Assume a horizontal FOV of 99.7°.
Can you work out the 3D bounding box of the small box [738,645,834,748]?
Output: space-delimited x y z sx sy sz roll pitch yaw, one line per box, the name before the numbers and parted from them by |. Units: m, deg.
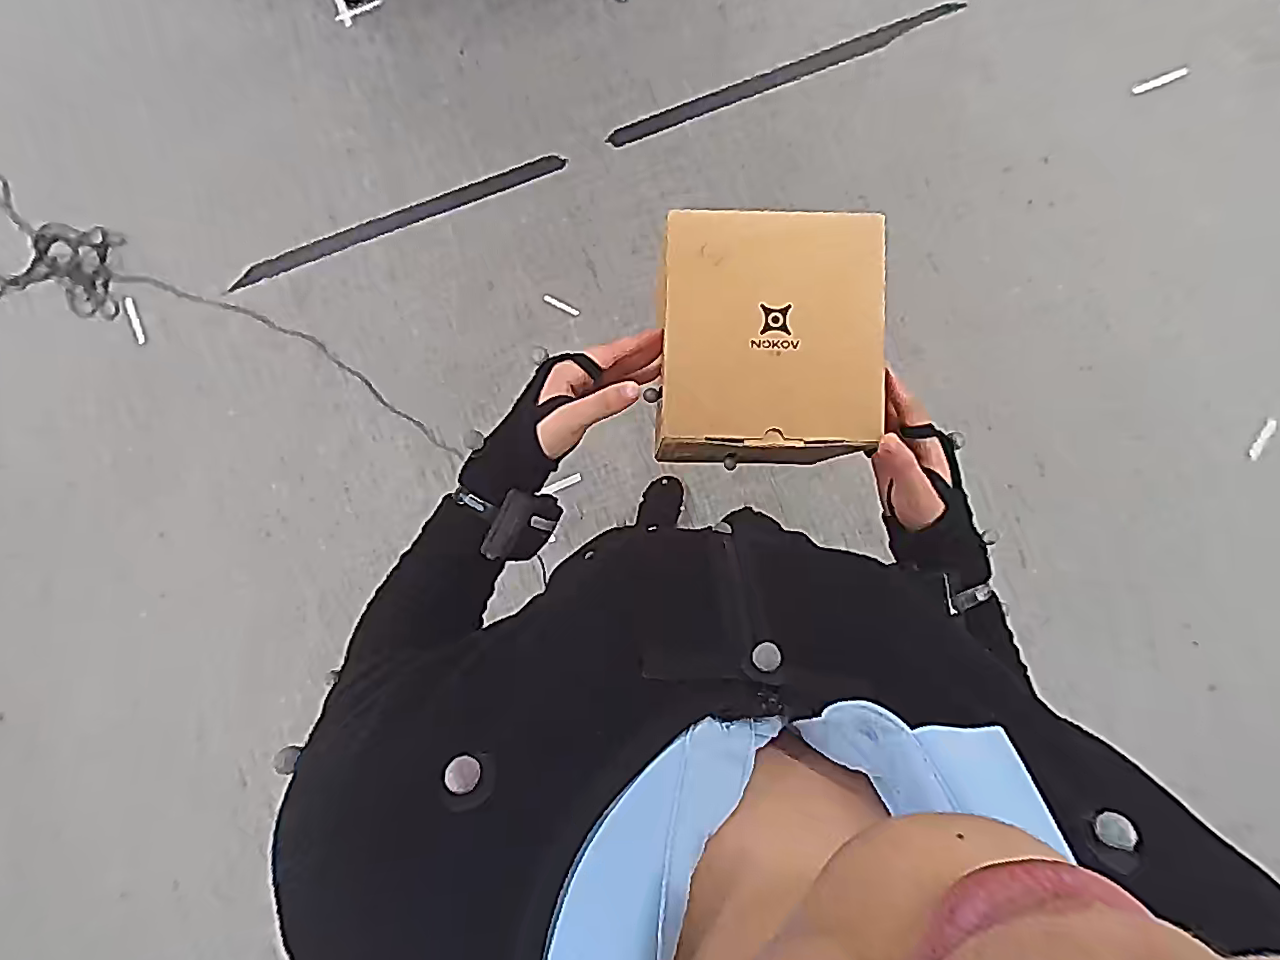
small box | 0.371 0.550 1.407 0.168 0.176 0.179 -25 90 1
